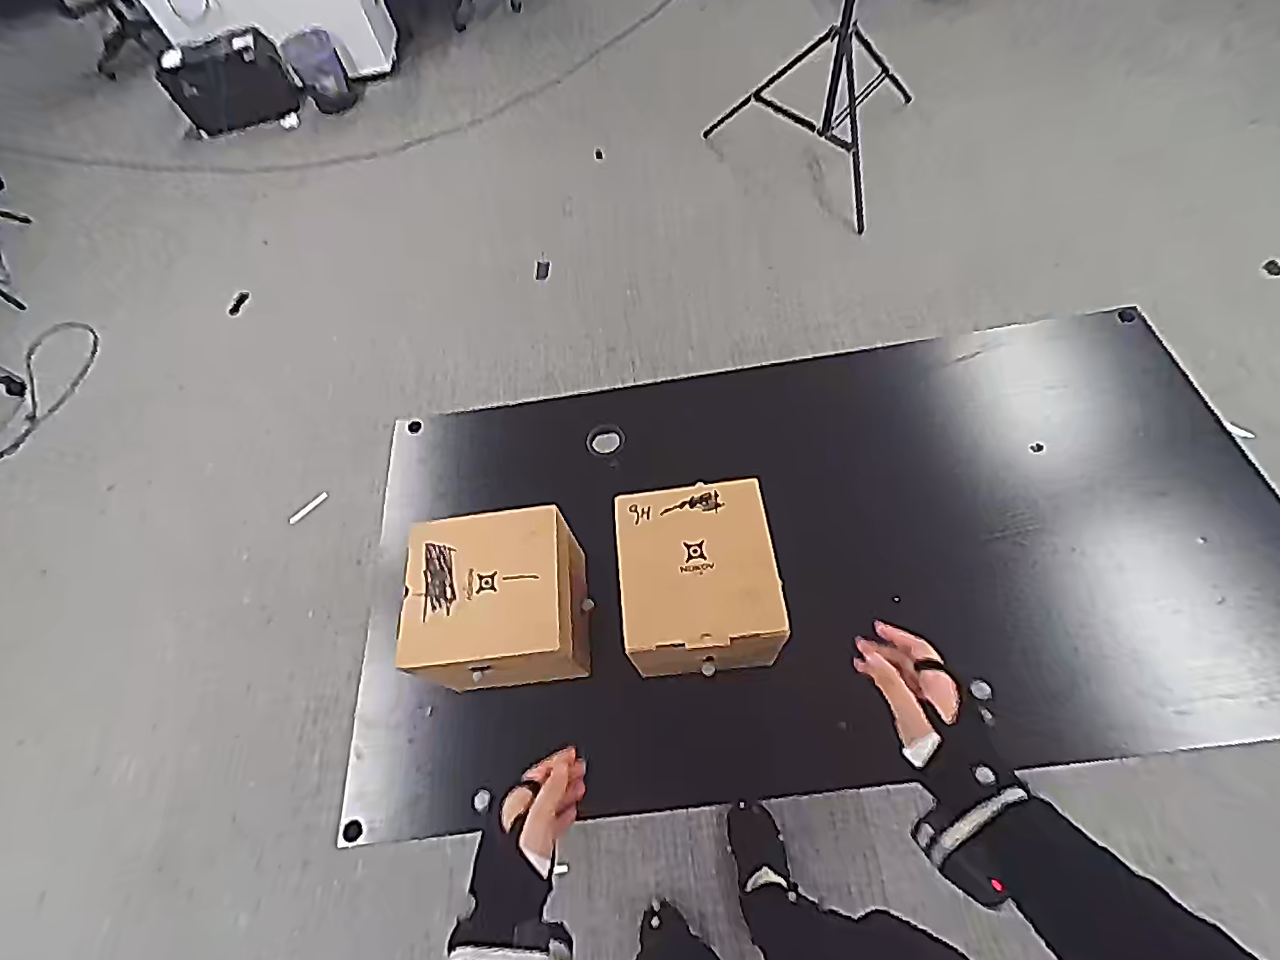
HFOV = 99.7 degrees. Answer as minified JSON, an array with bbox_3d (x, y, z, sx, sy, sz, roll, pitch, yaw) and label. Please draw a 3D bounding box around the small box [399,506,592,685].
[{"bbox_3d":[-0.163,0.149,0.663,0.179,0.176,0.168,-7,62,3],"label":"small box"}]
